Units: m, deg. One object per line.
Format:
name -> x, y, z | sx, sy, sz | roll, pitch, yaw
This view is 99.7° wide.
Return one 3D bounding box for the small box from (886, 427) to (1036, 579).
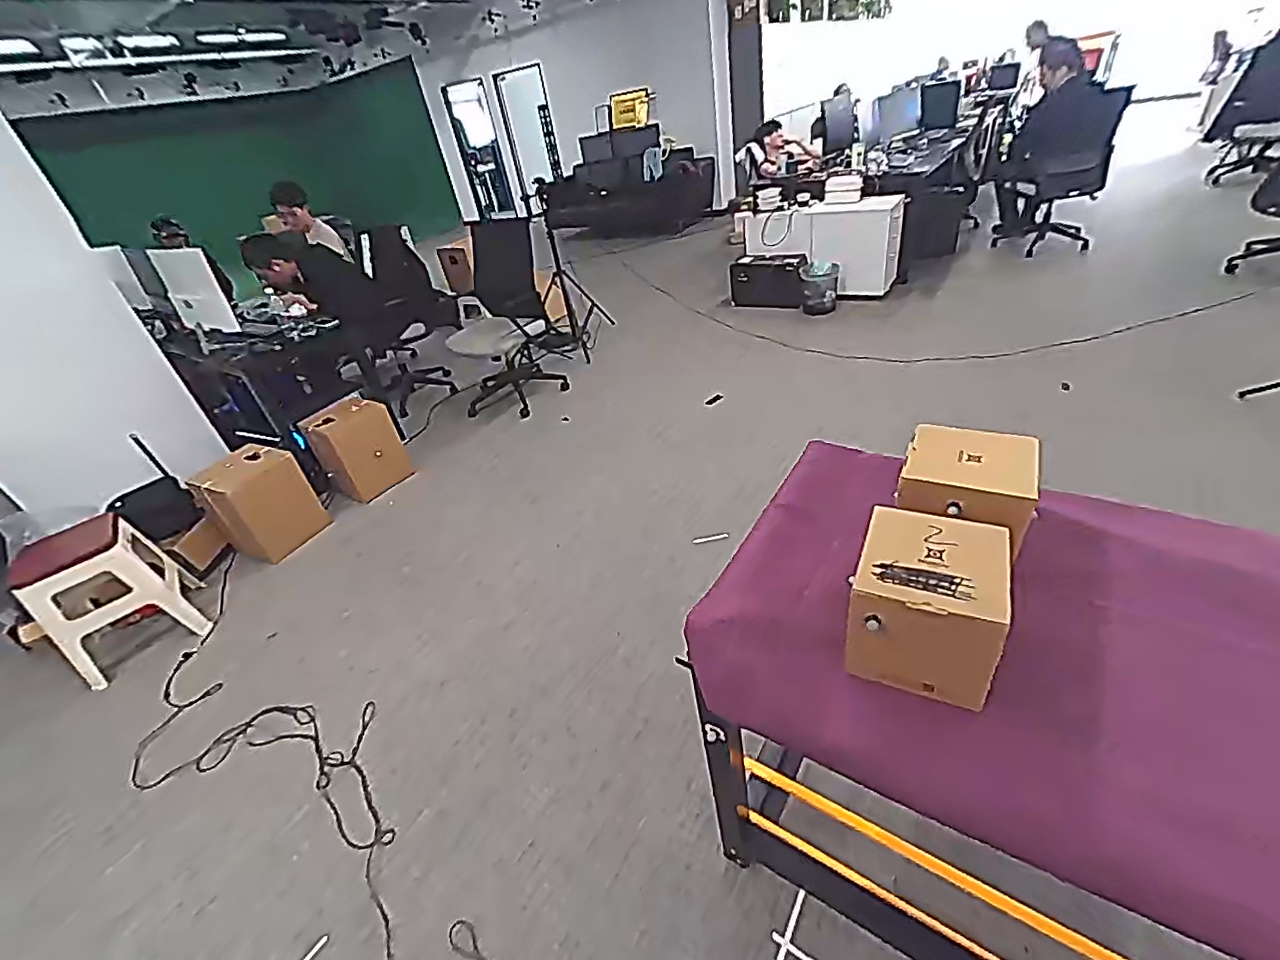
small box -> 0.519, 0.036, 0.883 | 0.179, 0.176, 0.168 | 12, 41, 29
